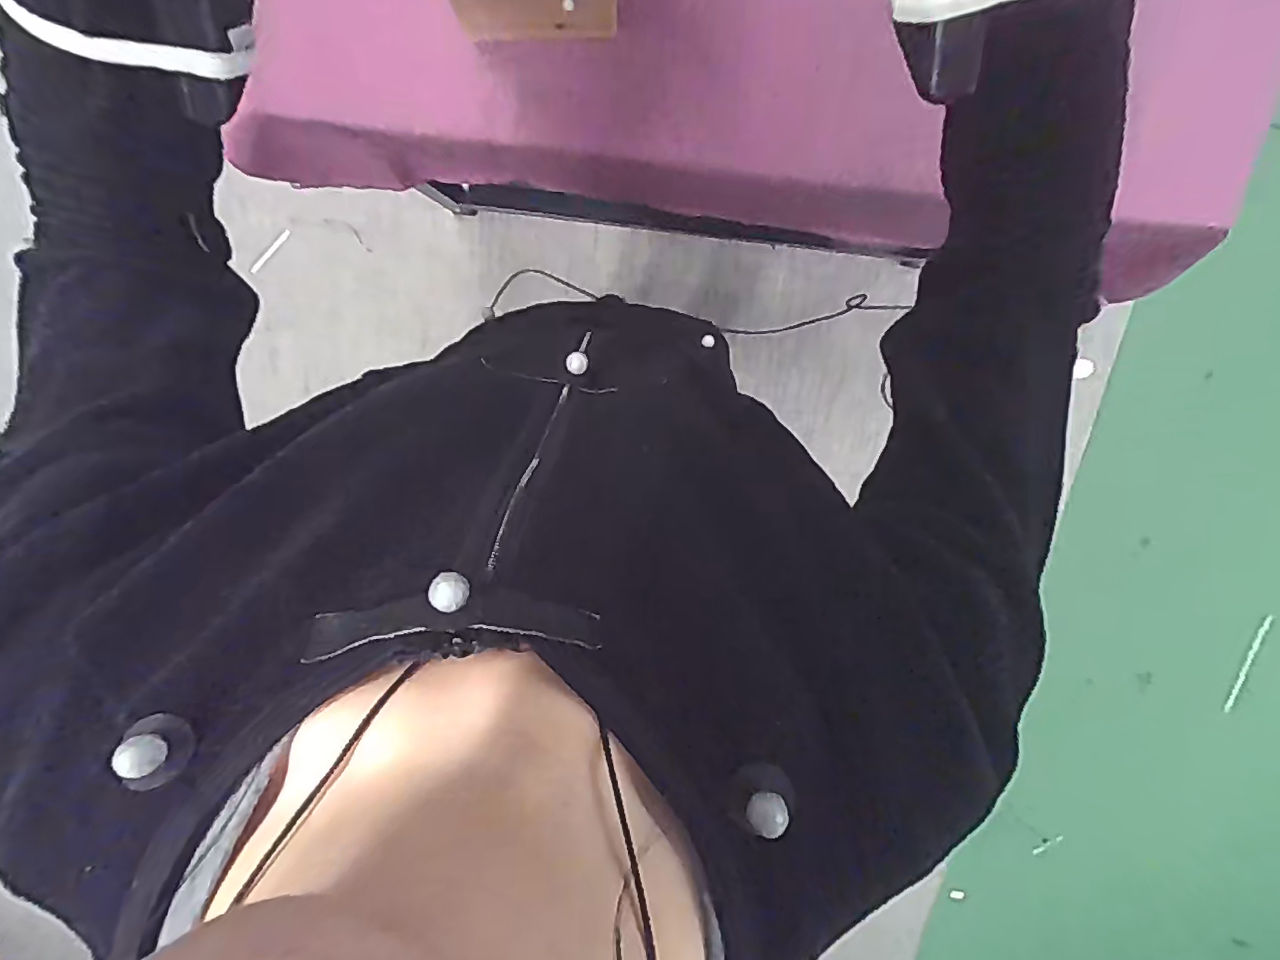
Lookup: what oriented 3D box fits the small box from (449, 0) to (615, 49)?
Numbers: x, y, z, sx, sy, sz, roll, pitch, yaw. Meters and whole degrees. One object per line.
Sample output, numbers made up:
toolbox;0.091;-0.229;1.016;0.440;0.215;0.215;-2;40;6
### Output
small box;-0.108;-0.548;0.514;0.168;0.176;0.179;-2;105;-2
